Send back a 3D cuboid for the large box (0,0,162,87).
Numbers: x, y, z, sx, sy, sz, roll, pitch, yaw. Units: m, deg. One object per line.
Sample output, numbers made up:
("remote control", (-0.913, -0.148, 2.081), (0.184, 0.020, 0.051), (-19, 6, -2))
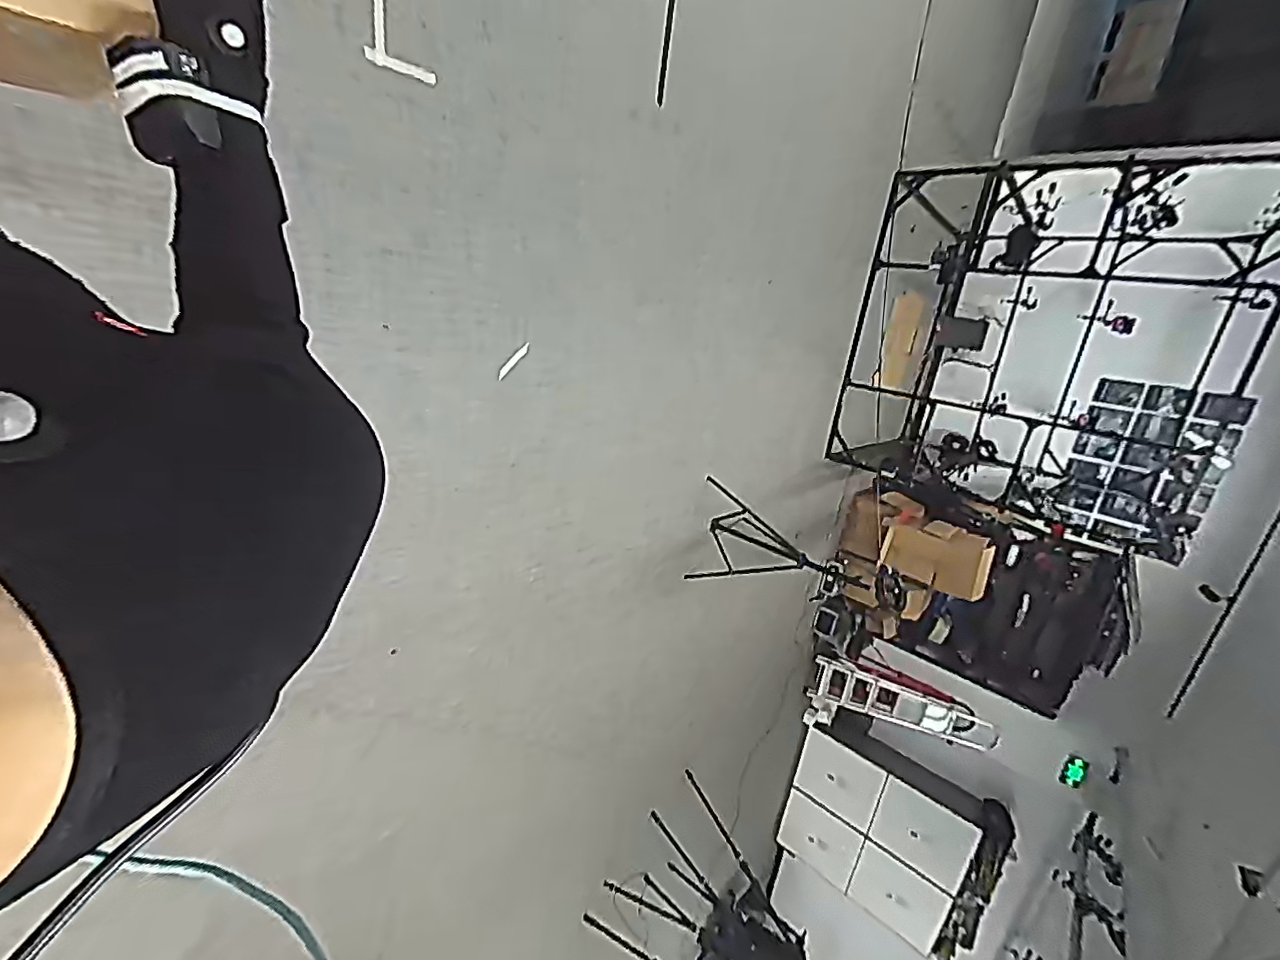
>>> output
("large box", (-0.575, -0.461, 0.278), (0.408, 0.320, 0.320), (-19, 122, -49))
